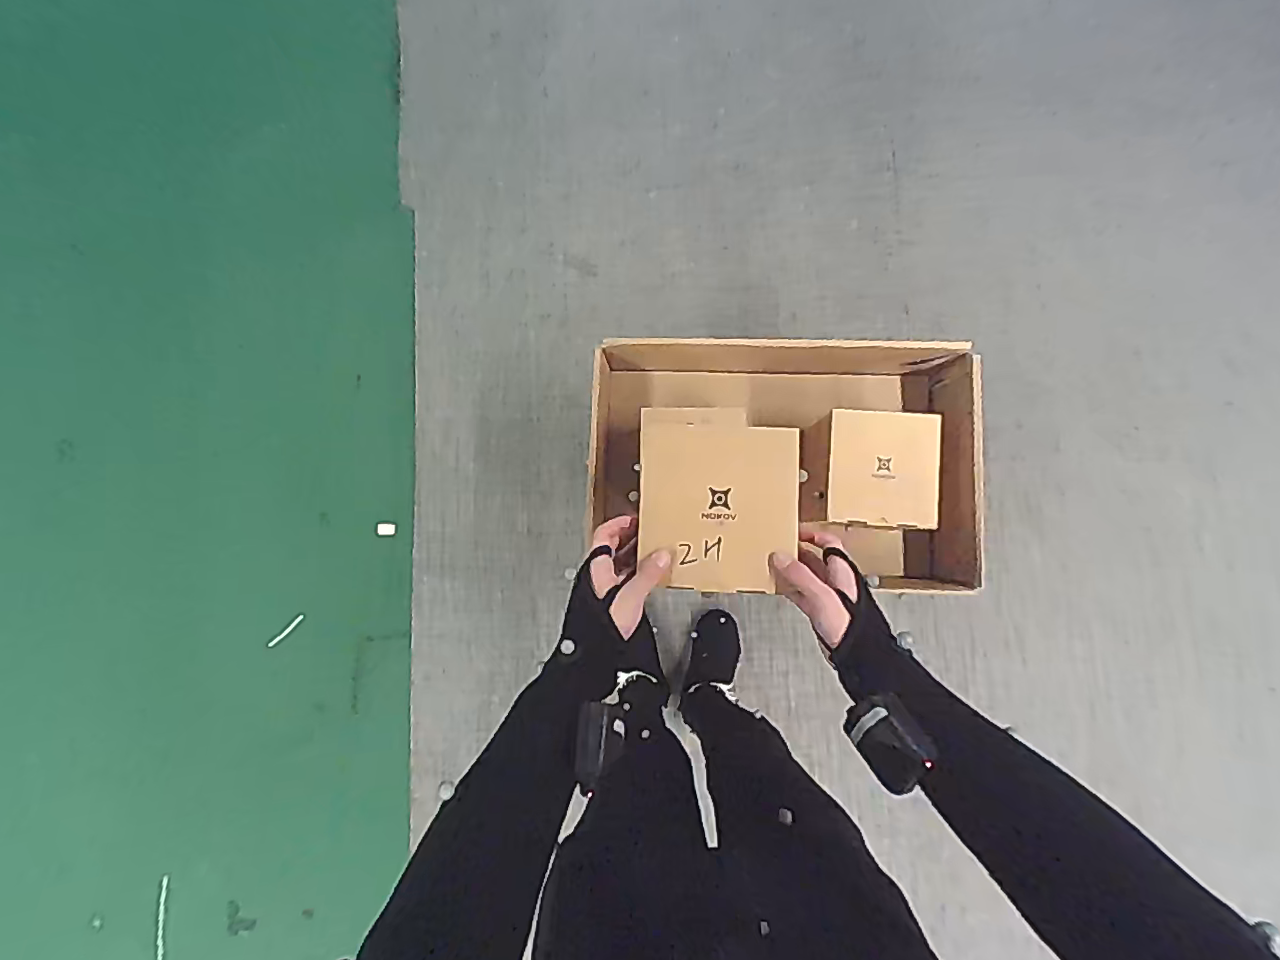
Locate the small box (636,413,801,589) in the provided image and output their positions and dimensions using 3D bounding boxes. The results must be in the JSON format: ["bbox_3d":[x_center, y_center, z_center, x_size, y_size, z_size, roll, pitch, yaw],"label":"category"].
[{"bbox_3d":[0.087,0.030,0.641,0.168,0.176,0.179,3,83,4],"label":"small box"}]

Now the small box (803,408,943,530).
[{"bbox_3d":[0.375,-0.012,0.896,0.168,0.176,0.179,4,85,3],"label":"small box"}]
